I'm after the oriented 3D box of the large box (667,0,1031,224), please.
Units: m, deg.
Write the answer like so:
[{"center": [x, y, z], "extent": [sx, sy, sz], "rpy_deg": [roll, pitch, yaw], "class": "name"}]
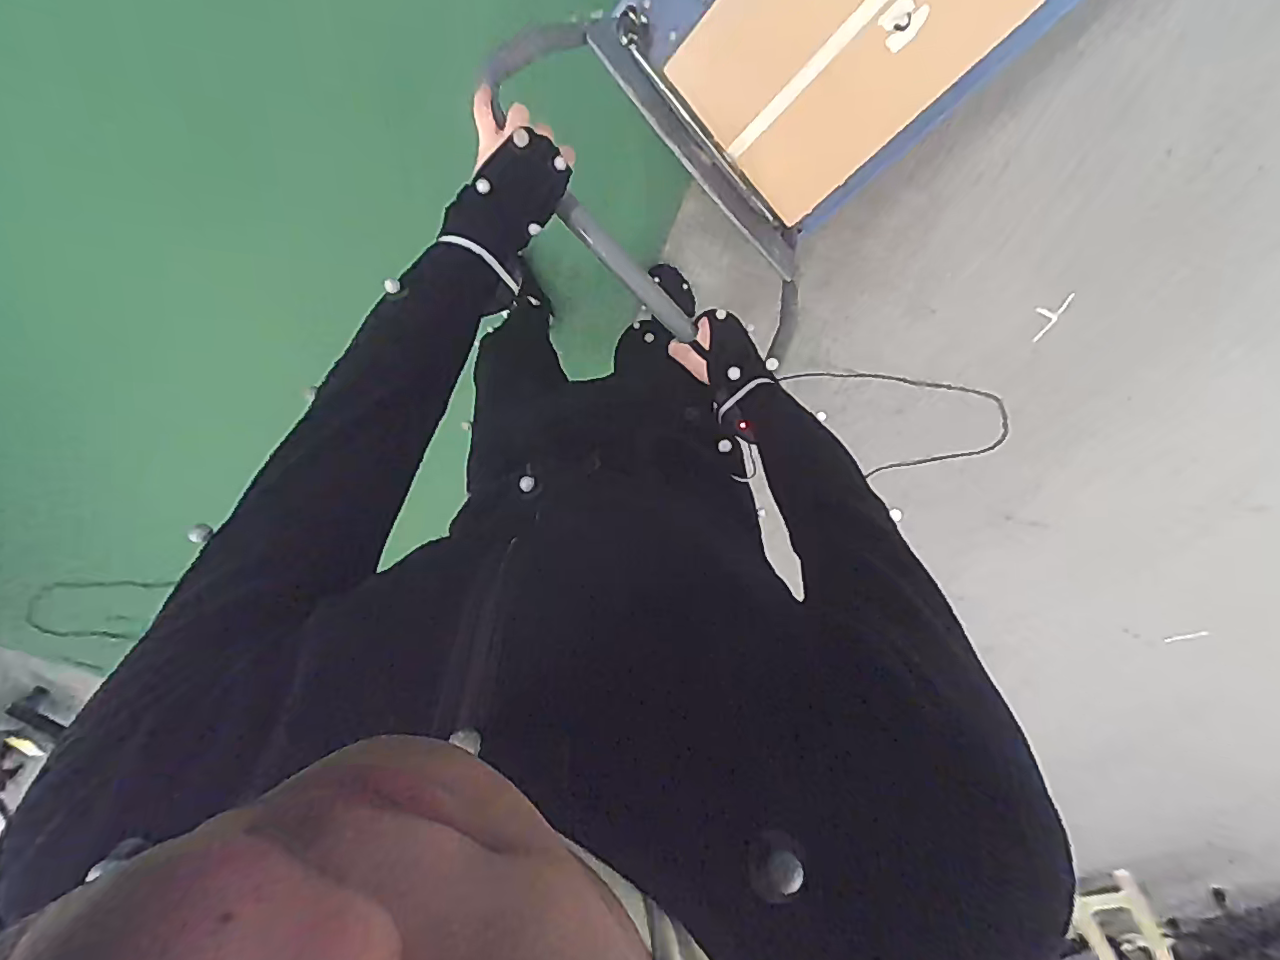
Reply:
[{"center": [0.302, -0.714, 0.883], "extent": [0.320, 0.320, 0.408], "rpy_deg": [41, 124, -20], "class": "large box"}]
